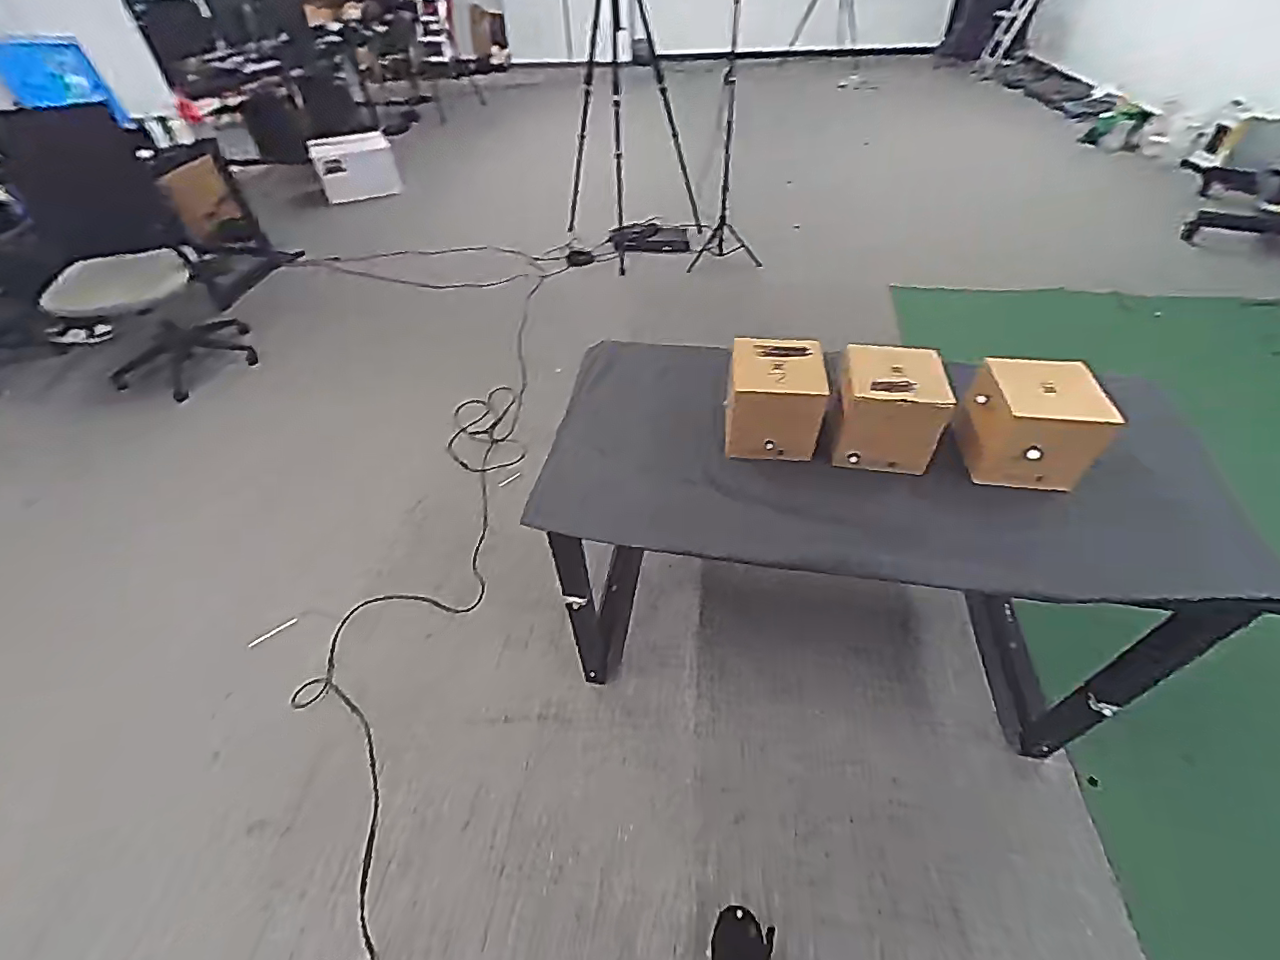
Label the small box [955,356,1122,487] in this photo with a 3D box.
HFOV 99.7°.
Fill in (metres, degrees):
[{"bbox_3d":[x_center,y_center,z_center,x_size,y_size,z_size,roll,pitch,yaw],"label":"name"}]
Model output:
[{"bbox_3d":[0.706,-0.105,0.984,0.168,0.176,0.179,5,46,8],"label":"small box"}]
